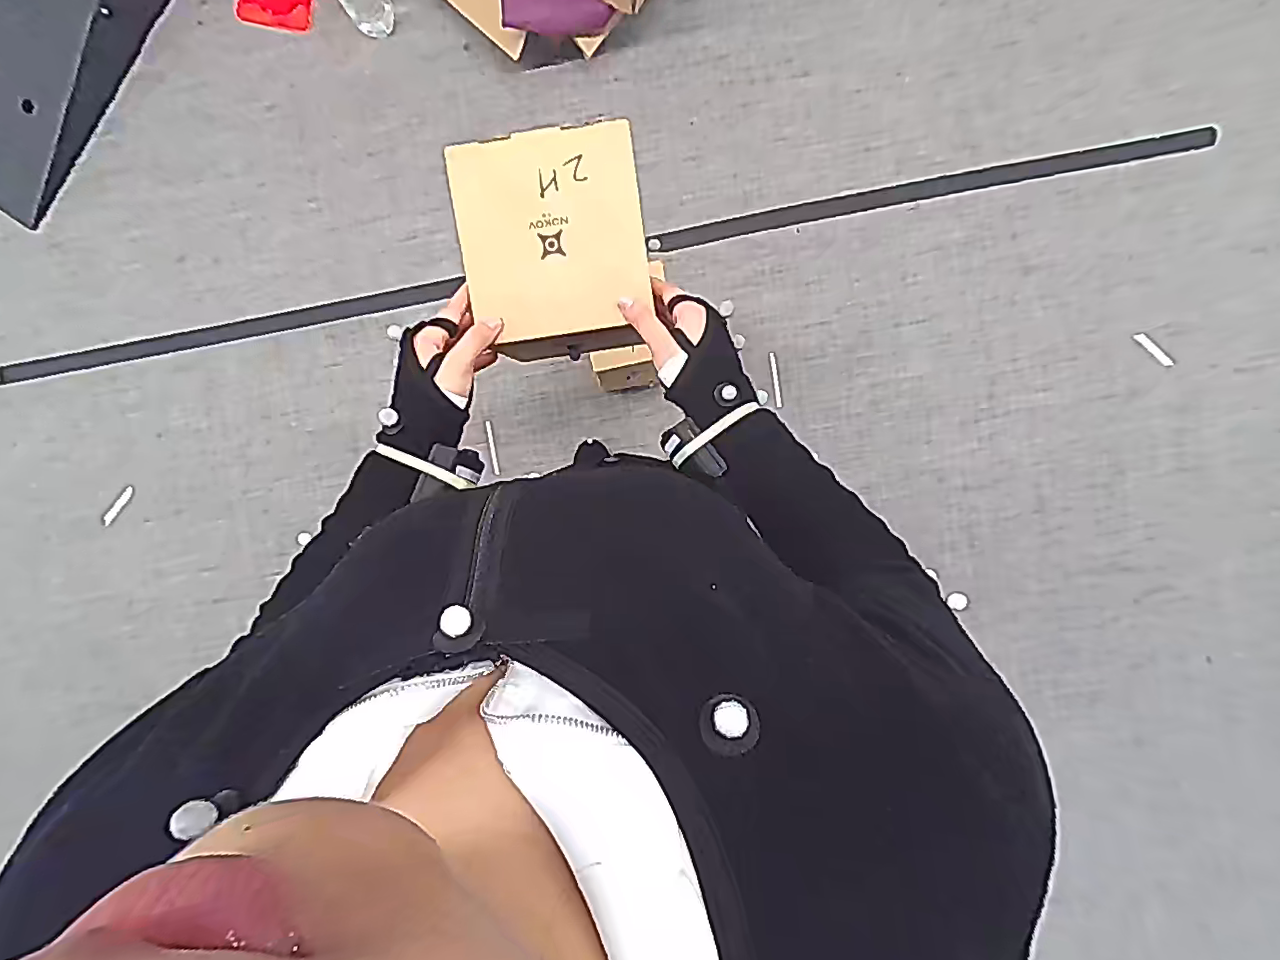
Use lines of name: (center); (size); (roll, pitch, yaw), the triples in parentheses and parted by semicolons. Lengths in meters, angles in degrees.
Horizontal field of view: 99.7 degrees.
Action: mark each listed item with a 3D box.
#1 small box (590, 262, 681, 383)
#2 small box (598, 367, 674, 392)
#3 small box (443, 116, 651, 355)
small box: (-0.020, -0.301, 1.068); (0.168, 0.176, 0.179); (-12, 94, 1)
small box: (-0.022, -0.311, 1.233); (0.168, 0.176, 0.179); (-12, 92, 1)
small box: (-0.079, -0.230, 0.560); (0.168, 0.176, 0.179); (-8, 96, 2)
